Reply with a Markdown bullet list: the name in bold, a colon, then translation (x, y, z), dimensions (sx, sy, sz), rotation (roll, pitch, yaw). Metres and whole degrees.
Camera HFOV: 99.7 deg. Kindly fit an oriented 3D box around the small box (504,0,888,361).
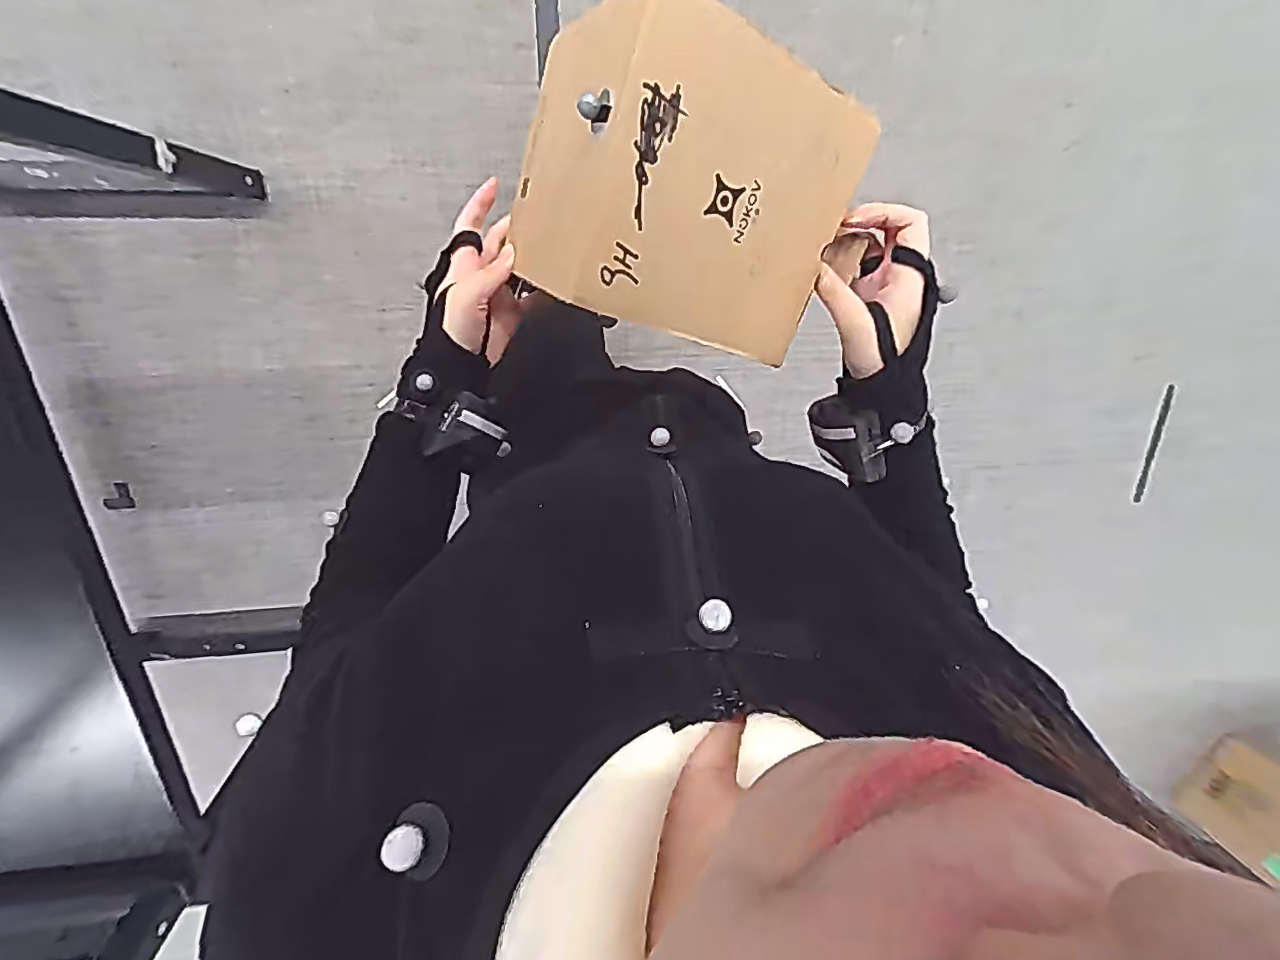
- **small box**: translation (0.024, -0.202, 0.382), dimensions (0.179, 0.176, 0.168), rotation (9, 110, -32)
